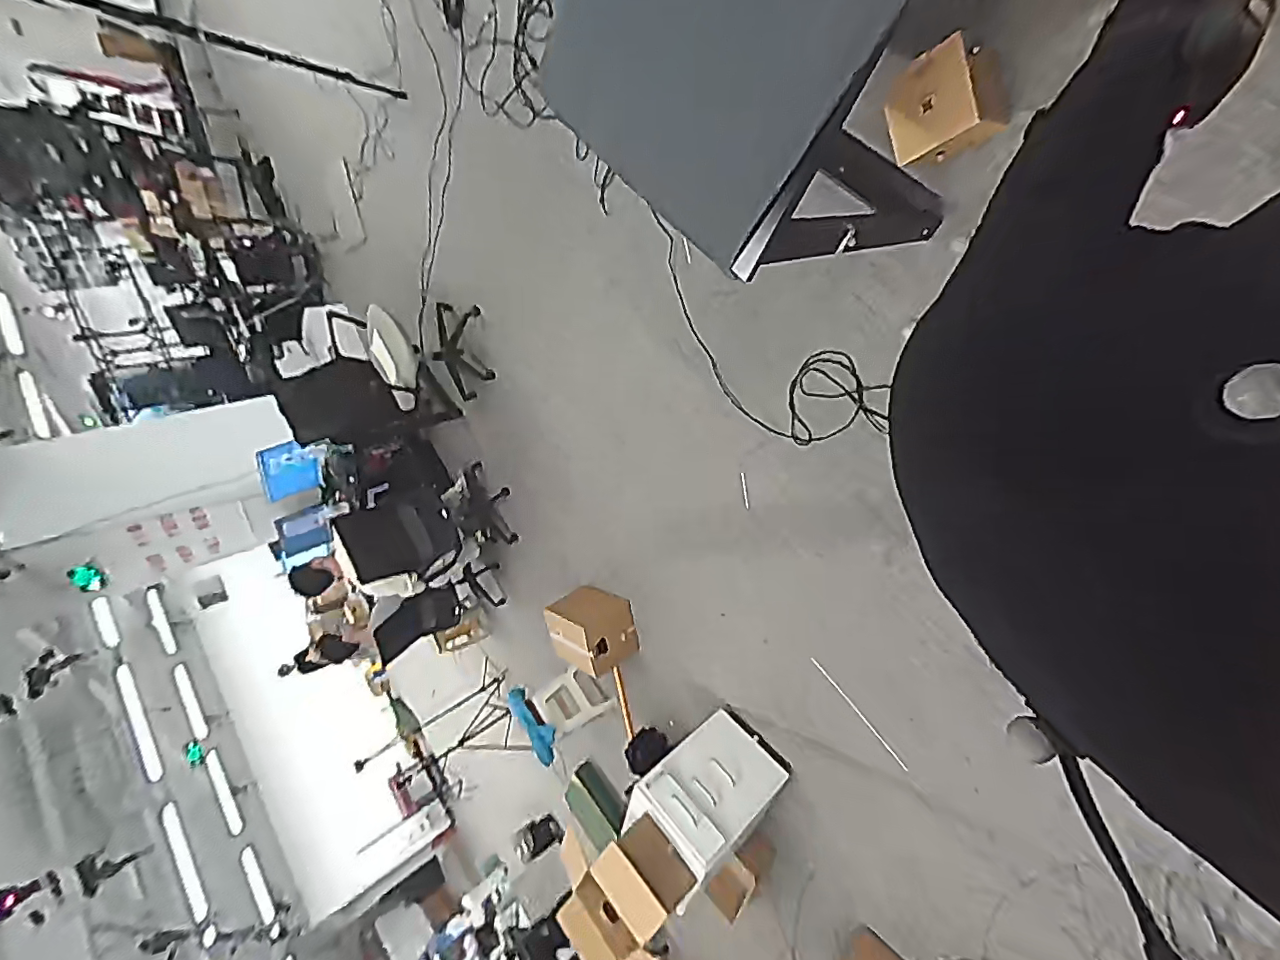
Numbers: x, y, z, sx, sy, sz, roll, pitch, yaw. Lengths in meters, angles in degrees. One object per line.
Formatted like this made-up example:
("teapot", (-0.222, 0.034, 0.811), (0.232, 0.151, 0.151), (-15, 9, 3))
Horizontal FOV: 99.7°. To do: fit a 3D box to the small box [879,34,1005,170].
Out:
("small box", (0.645, -0.790, 1.149), (0.168, 0.176, 0.179), (-9, 101, 53))
